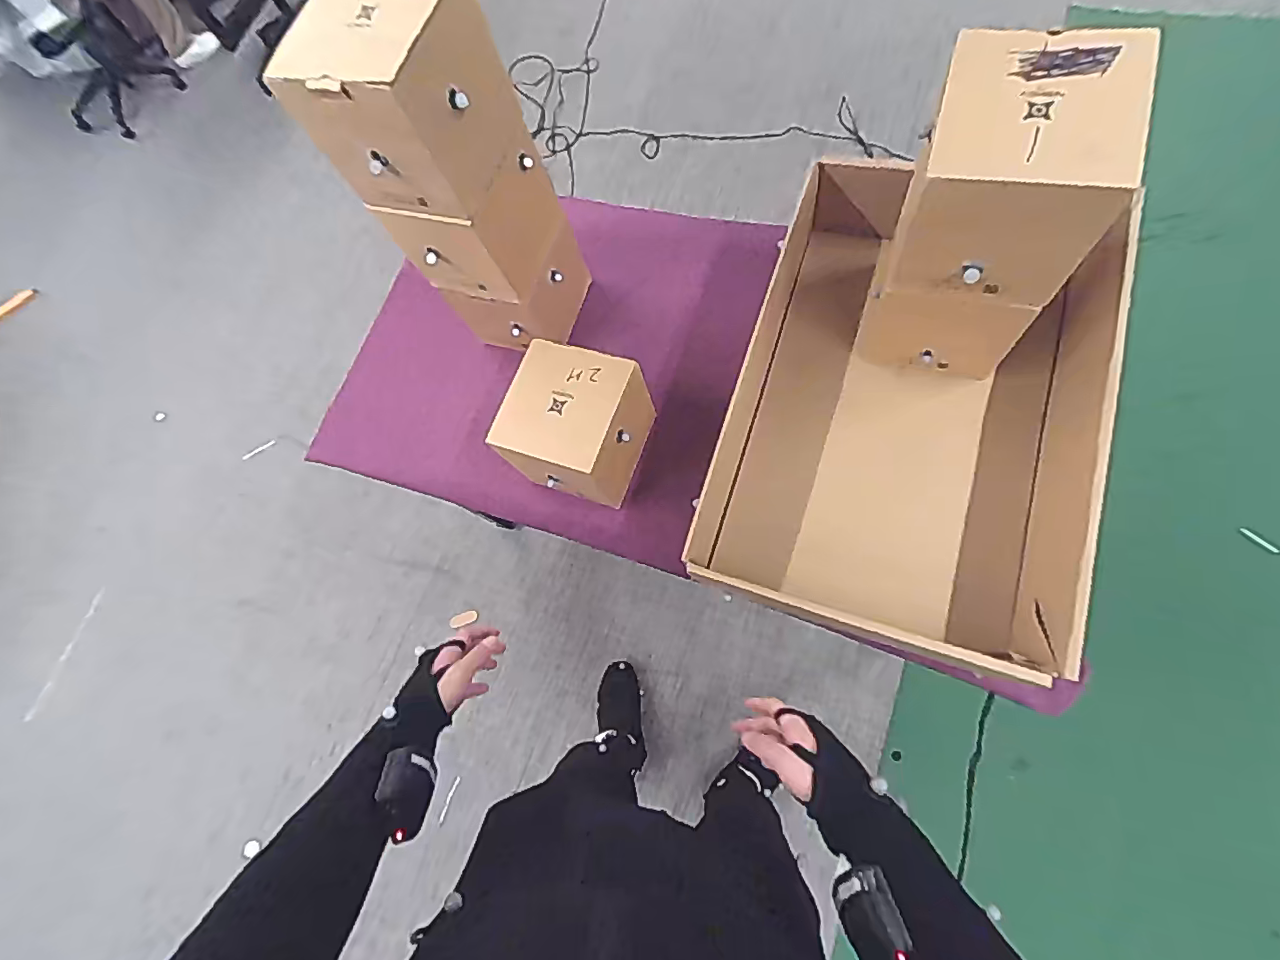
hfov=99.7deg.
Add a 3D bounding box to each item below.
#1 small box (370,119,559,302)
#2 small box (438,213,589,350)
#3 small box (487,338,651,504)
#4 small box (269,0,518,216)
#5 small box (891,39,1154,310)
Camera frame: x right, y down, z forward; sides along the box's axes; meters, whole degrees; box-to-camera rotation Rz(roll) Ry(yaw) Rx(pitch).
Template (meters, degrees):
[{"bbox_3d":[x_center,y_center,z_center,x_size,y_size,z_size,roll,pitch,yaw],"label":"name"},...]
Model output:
[{"bbox_3d":[-0.237,-0.384,0.778,0.168,0.176,0.179,16,75,16],"label":"small box"},{"bbox_3d":[-0.204,-0.338,0.929,0.168,0.176,0.179,17,76,15],"label":"small box"},{"bbox_3d":[-0.094,-0.080,0.817,0.168,0.176,0.179,18,75,16],"label":"small box"},{"bbox_3d":[-0.265,-0.439,0.626,0.168,0.176,0.179,15,76,15],"label":"small box"},{"bbox_3d":[0.377,-0.308,0.563,0.168,0.176,0.179,14,77,17],"label":"small box"}]
